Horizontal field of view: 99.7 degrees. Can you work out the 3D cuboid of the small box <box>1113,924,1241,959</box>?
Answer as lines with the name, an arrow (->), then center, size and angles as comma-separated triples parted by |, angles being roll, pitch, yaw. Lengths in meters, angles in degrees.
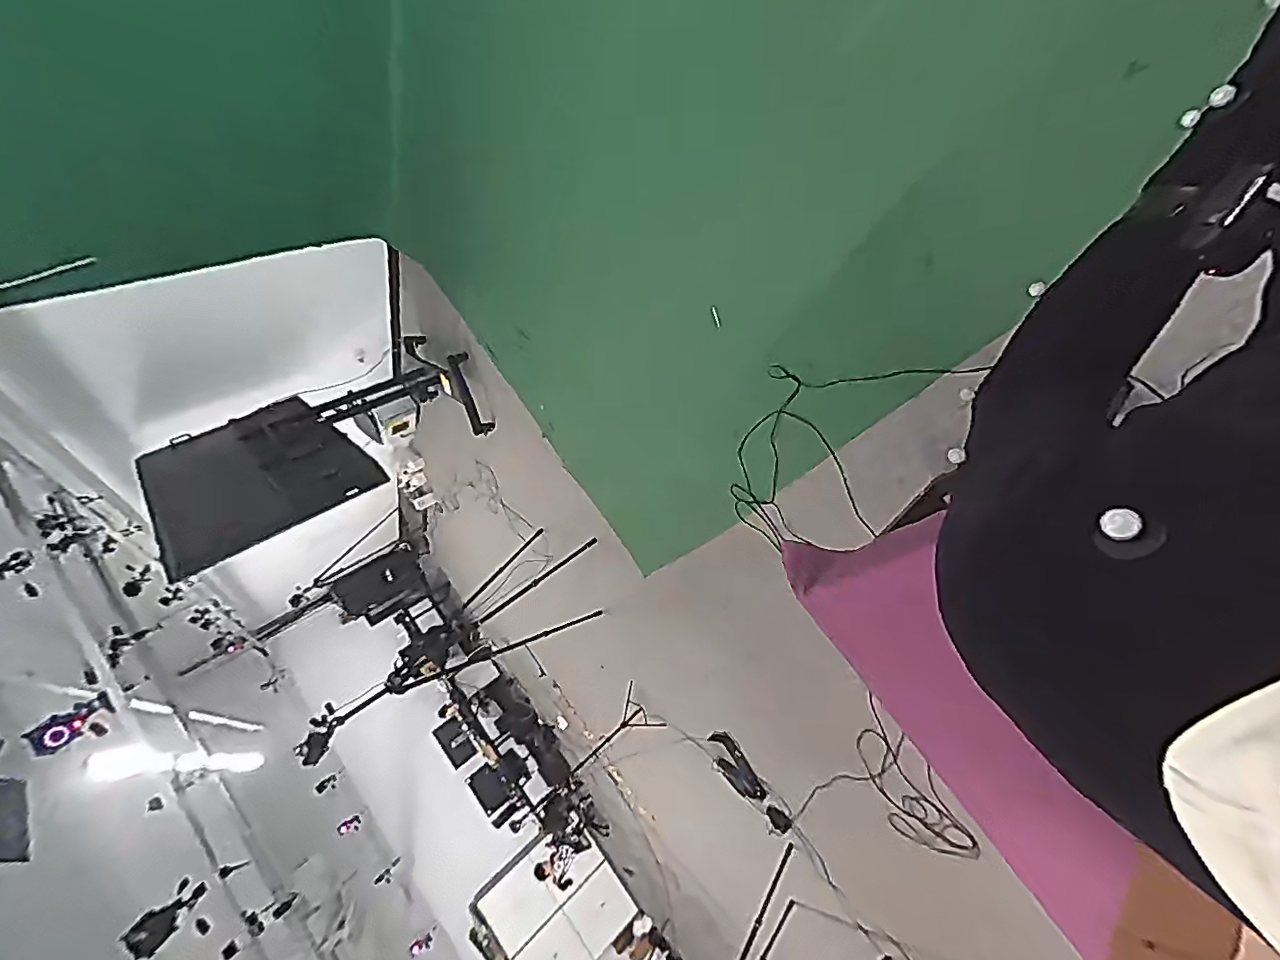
small box -> 0.821, 0.802, 0.781 | 0.179, 0.176, 0.168 | 53, 148, 10
